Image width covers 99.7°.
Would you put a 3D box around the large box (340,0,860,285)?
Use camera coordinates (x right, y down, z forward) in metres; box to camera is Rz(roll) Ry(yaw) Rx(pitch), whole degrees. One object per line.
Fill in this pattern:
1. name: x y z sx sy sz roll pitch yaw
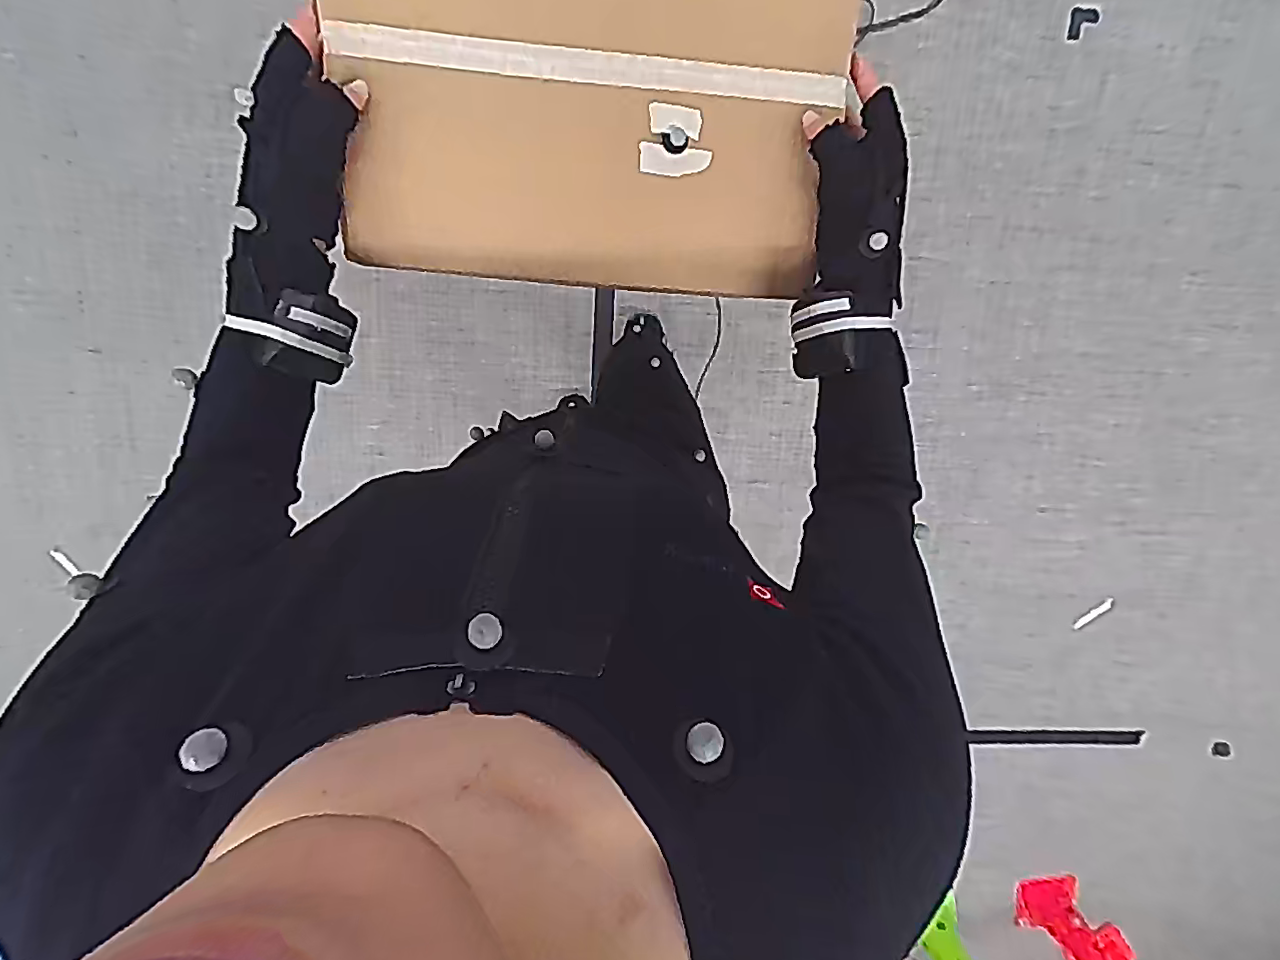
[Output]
1. large box: -0.041 -0.381 0.565 0.408 0.320 0.320 2 110 -5
